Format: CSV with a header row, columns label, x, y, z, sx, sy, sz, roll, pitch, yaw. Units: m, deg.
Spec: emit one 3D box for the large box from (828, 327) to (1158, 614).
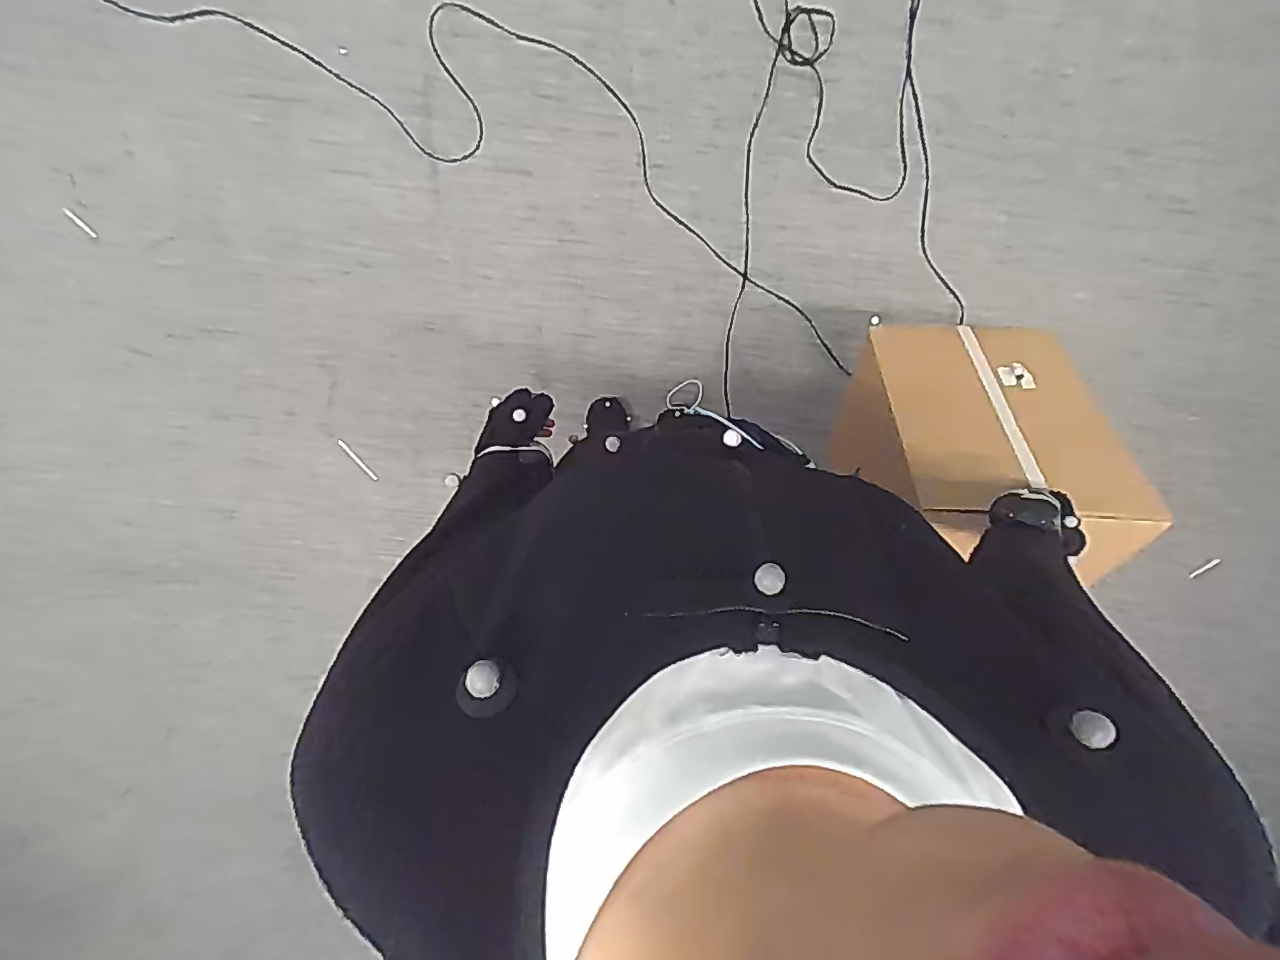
label,x,y,z,sx,sy,sz,roll,pitch,yaw
large box,0.543,-0.016,0.948,0.320,0.408,0.320,3,141,4
